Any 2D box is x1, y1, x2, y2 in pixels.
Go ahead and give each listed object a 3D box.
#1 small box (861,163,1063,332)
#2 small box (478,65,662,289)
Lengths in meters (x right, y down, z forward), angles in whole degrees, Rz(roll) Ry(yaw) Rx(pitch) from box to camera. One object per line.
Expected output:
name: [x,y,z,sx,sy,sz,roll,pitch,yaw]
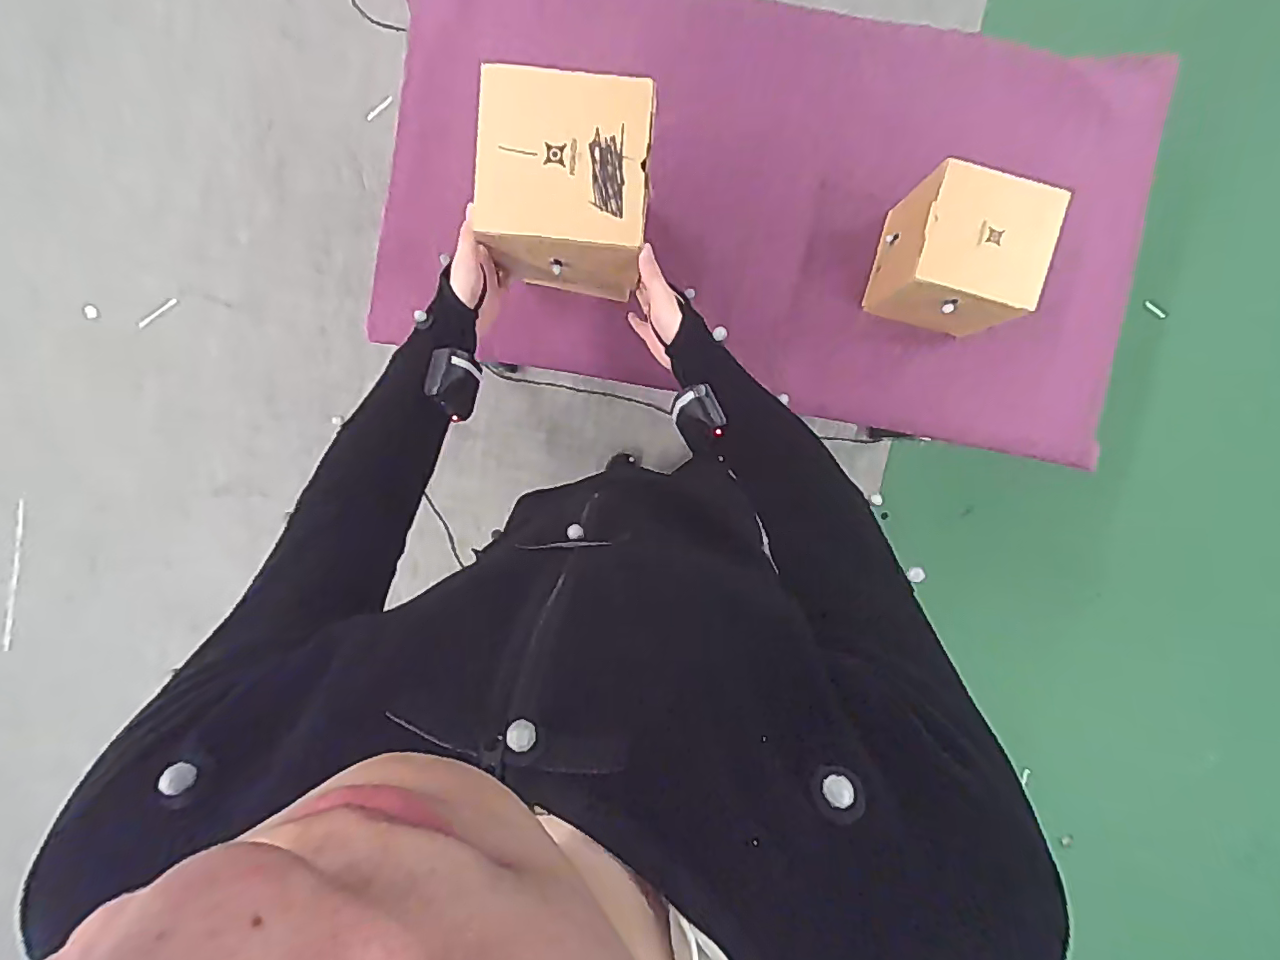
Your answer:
small box: [0.469,-0.333,0.814,0.179,0.176,0.168,15,93,-2]
small box: [-0.075,-0.328,0.623,0.179,0.176,0.168,5,95,-3]
